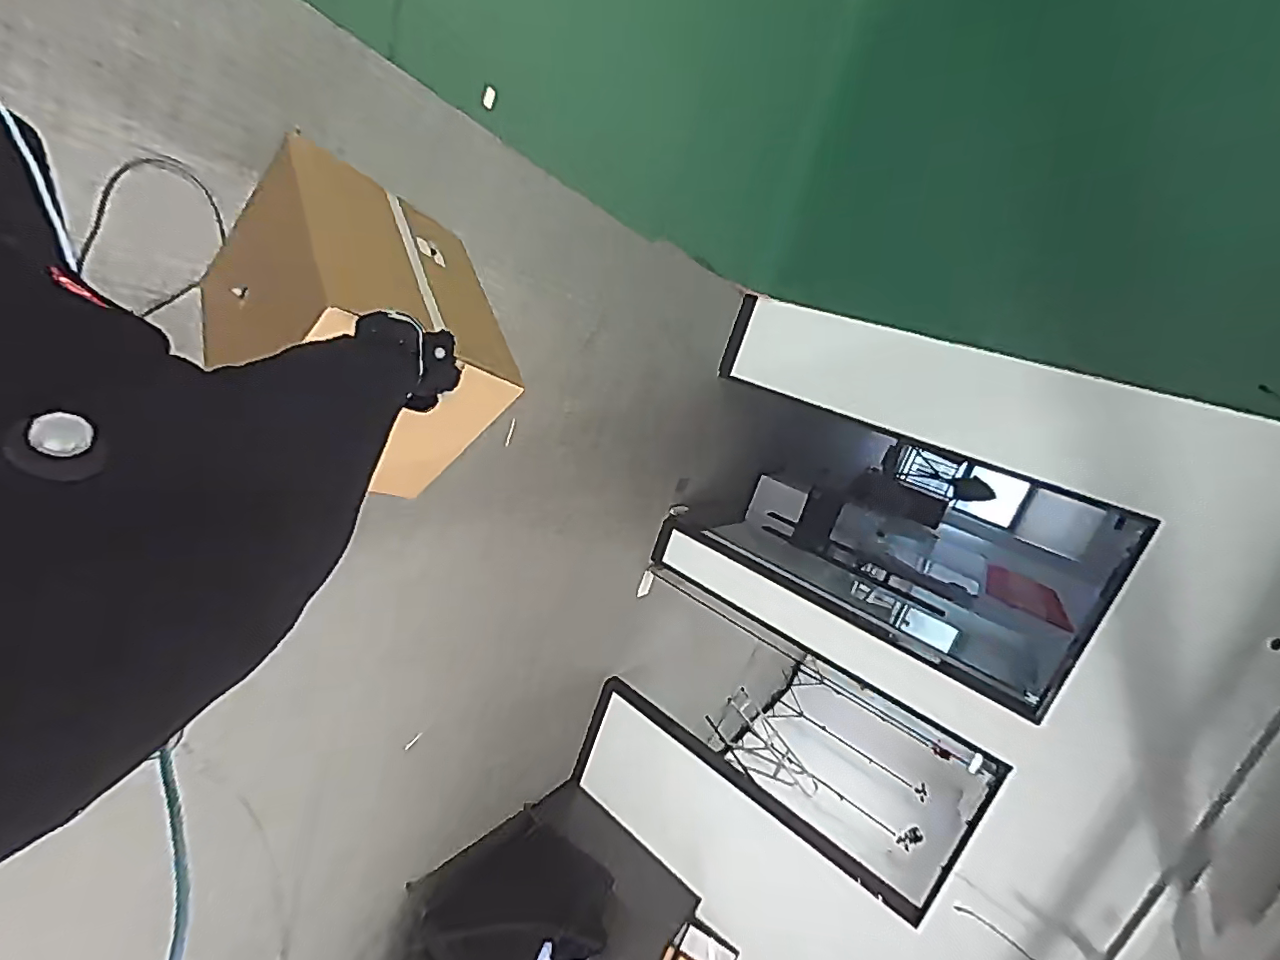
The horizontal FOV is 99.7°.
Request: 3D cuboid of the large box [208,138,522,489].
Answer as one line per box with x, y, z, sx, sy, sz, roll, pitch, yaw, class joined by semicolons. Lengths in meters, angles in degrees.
-0.465;-0.243;0.897;0.320;0.408;0.320;-39;151;21;large box
